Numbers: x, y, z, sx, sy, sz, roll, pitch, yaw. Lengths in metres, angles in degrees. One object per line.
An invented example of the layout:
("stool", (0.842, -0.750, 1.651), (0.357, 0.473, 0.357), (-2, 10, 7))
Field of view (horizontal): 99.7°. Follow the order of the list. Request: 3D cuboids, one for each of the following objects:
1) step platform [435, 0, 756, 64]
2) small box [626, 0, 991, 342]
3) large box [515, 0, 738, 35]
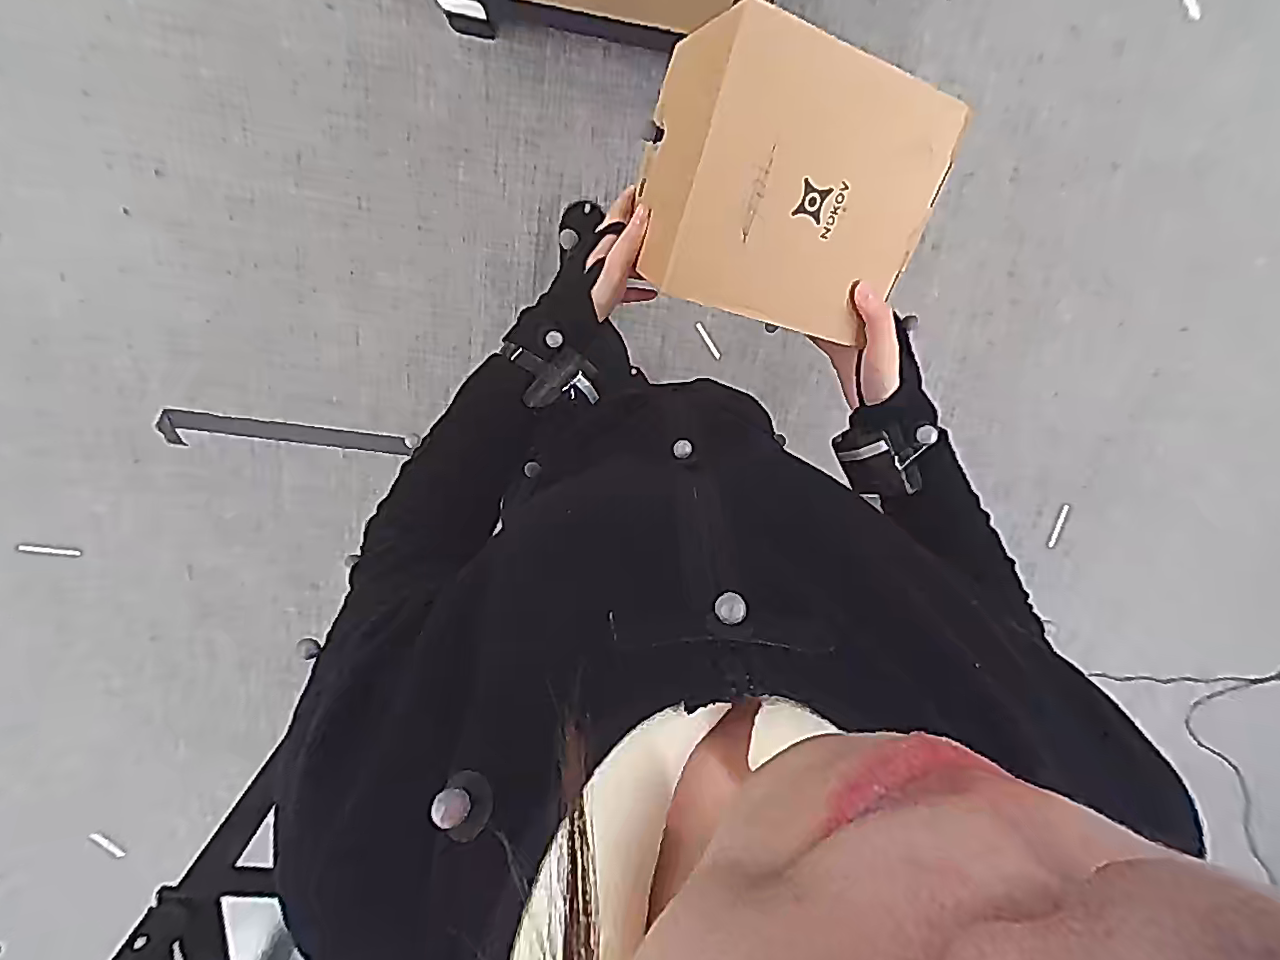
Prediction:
("step platform", (-0.082, -1.026, 1.067), (0.684, 0.204, 0.286), (12, 107, -6))
("small box", (0.105, -0.227, 0.418), (0.179, 0.176, 0.168), (10, 116, -19))
("large box", (-0.014, -0.964, 0.840), (0.408, 0.320, 0.320), (7, 107, -4))
